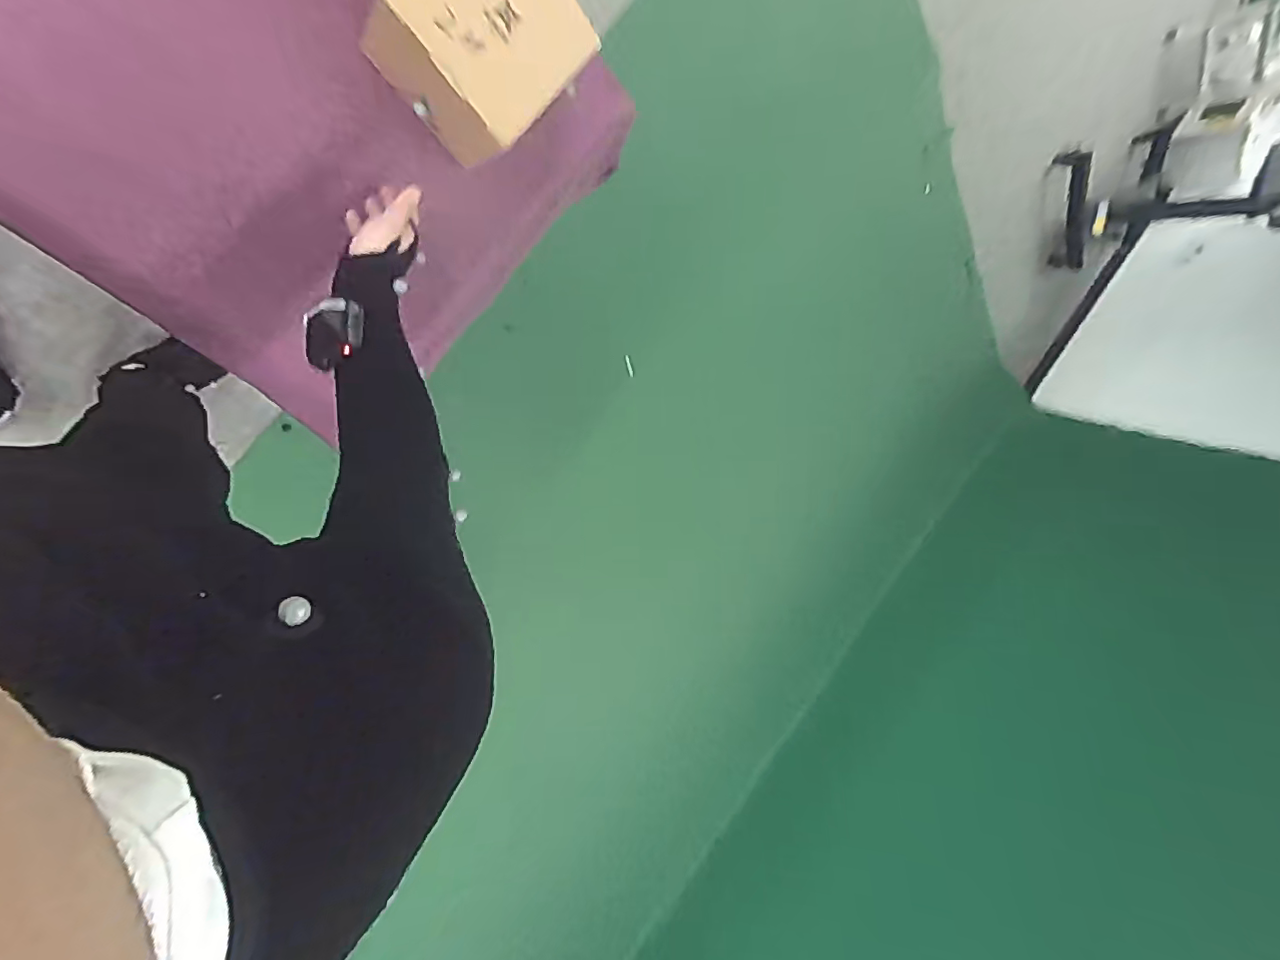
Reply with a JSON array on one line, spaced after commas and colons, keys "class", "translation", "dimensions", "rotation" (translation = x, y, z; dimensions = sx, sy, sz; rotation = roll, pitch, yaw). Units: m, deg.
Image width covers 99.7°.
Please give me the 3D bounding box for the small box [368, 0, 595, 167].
[{"class": "small box", "translation": [-0.192, -0.507, 0.637], "dimensions": [0.179, 0.176, 0.168], "rotation": [-51, 127, -6]}]
